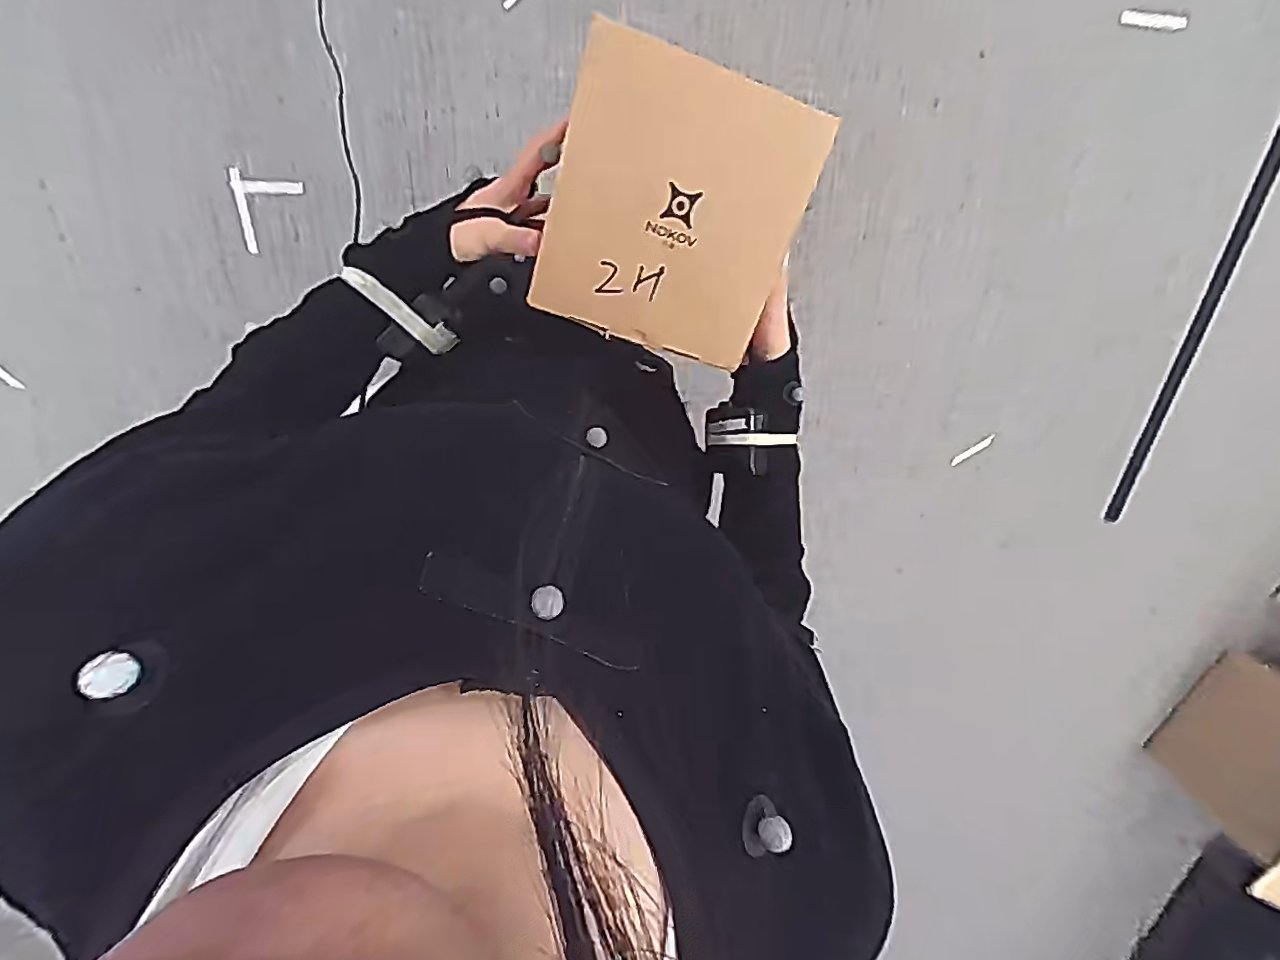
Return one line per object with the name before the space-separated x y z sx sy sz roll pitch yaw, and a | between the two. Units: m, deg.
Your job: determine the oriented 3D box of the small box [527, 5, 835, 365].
small box | 0.017 -0.217 0.432 0.168 0.176 0.179 15 116 -10
